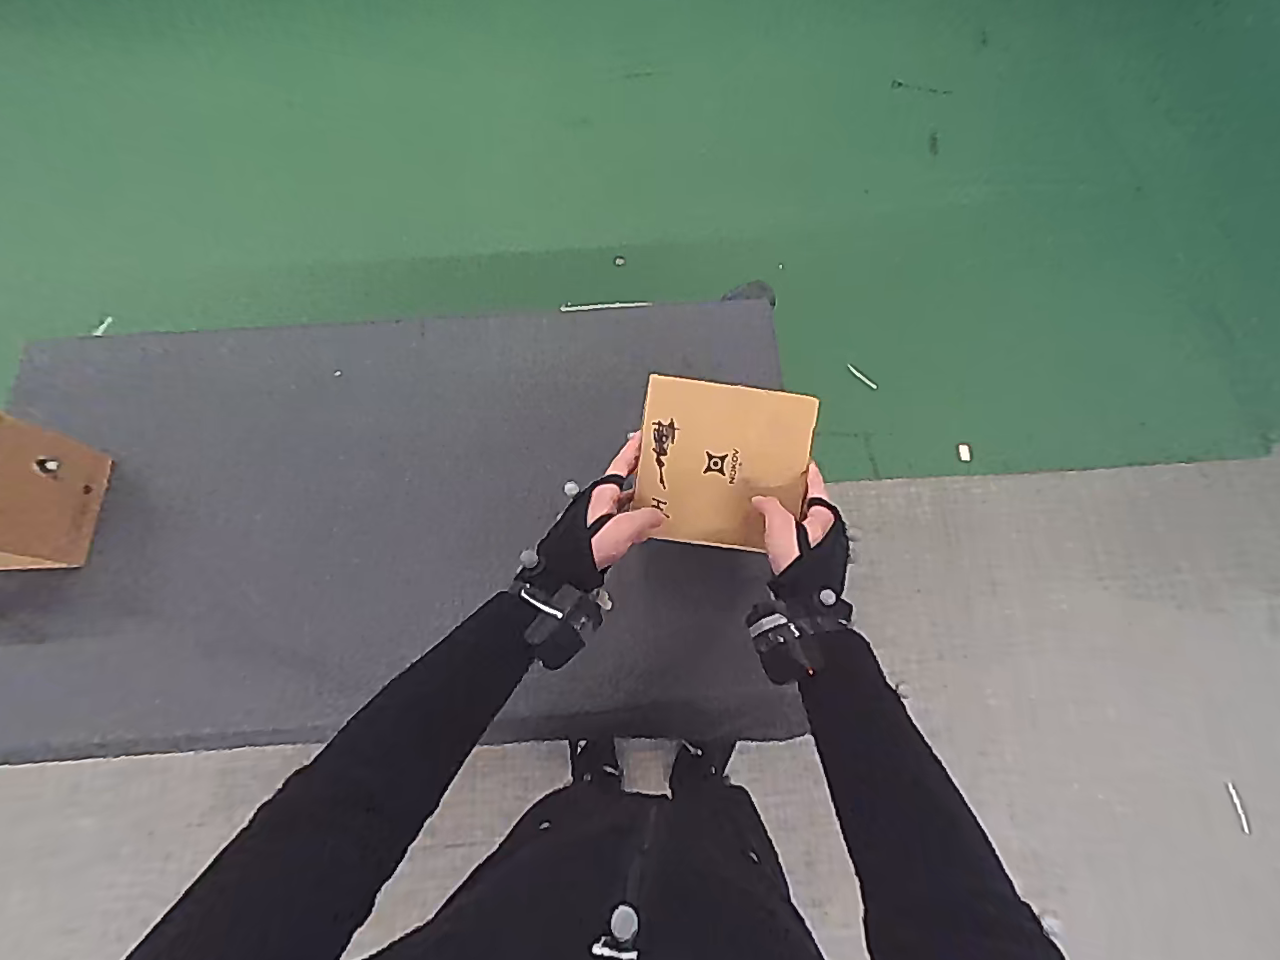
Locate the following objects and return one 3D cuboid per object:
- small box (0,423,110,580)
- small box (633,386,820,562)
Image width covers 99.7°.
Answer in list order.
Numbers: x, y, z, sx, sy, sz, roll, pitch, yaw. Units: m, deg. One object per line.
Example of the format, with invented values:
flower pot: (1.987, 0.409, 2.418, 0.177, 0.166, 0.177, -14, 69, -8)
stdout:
small box: (-0.859, 0.031, 0.697, 0.179, 0.176, 0.168, -1, 69, -1)
small box: (0.089, -0.008, 0.636, 0.179, 0.176, 0.168, 7, 90, -1)
